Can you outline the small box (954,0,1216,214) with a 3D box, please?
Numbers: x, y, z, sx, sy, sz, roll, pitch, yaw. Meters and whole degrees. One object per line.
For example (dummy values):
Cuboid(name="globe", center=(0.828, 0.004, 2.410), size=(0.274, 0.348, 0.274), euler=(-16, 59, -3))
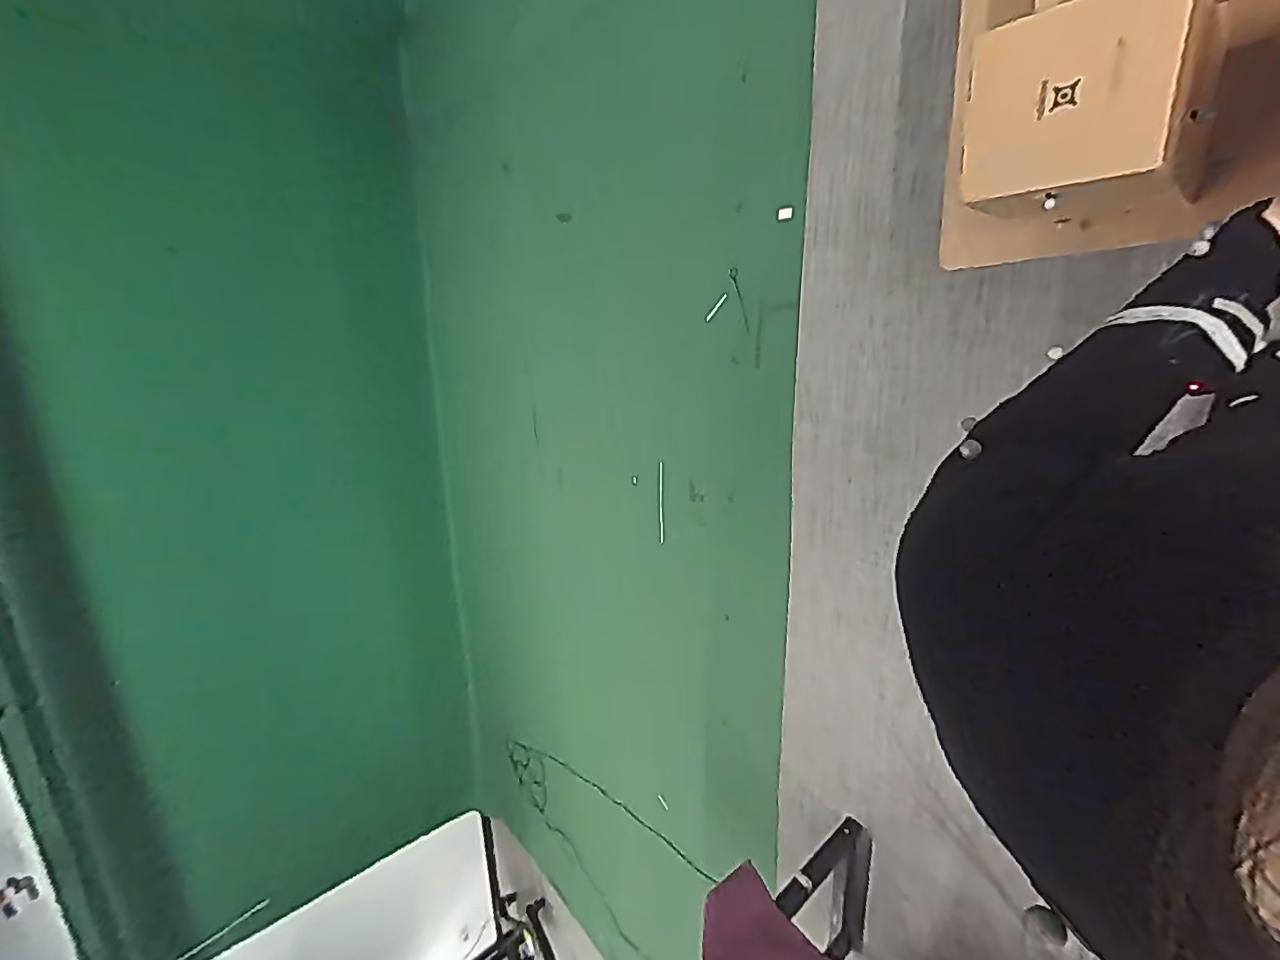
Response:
Cuboid(name="small box", center=(0.480, -0.400, 0.591), size=(0.179, 0.176, 0.168), euler=(16, 114, 47))
